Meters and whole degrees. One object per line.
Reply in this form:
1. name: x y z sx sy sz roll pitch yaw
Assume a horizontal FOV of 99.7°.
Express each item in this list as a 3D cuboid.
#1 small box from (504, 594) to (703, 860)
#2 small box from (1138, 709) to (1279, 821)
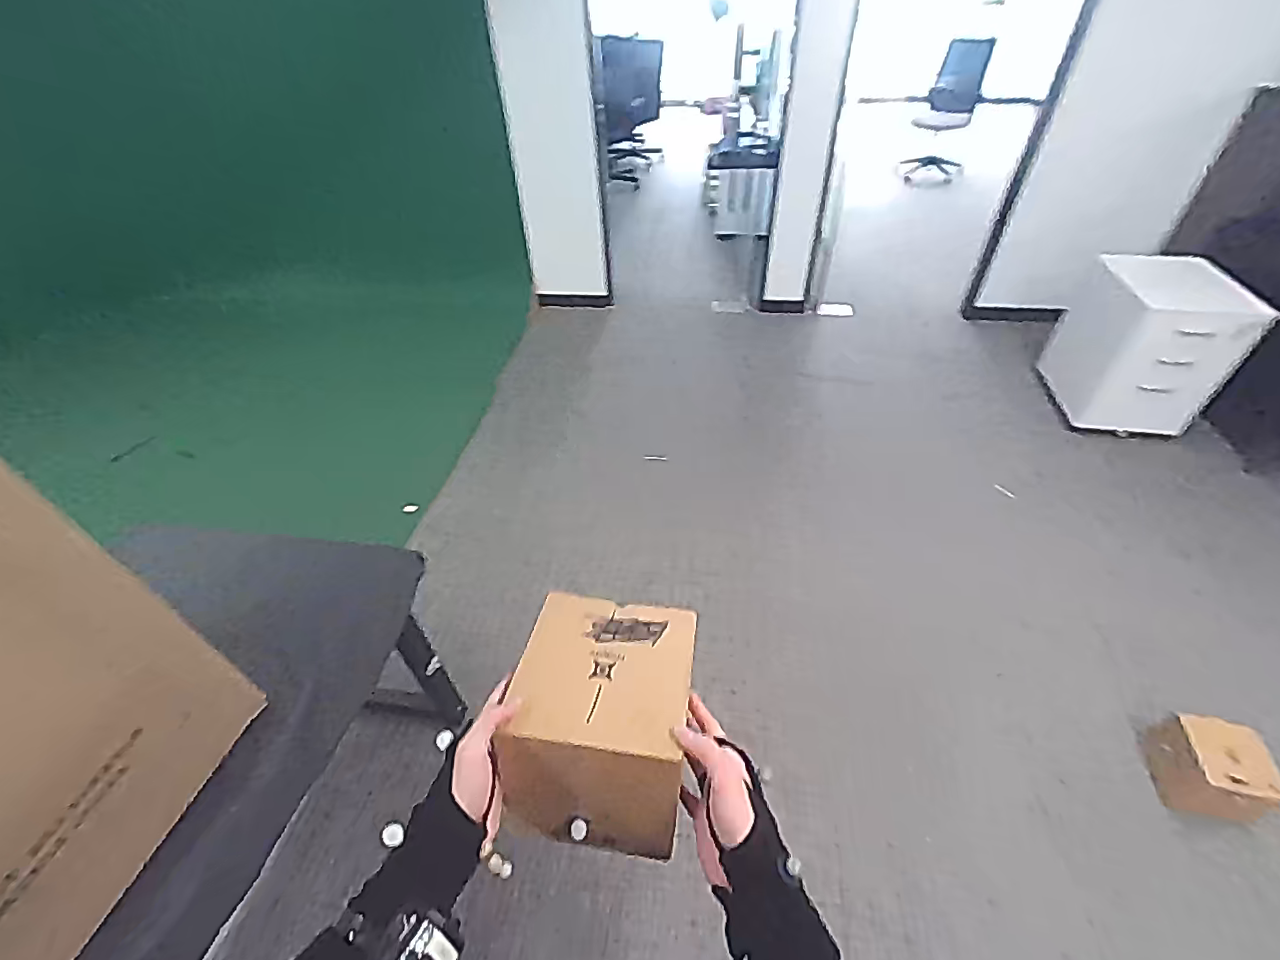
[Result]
1. small box: -0.028 0.250 0.567 0.168 0.176 0.179 6 31 8
2. small box: 1.404 0.709 1.345 0.168 0.176 0.179 10 43 12
